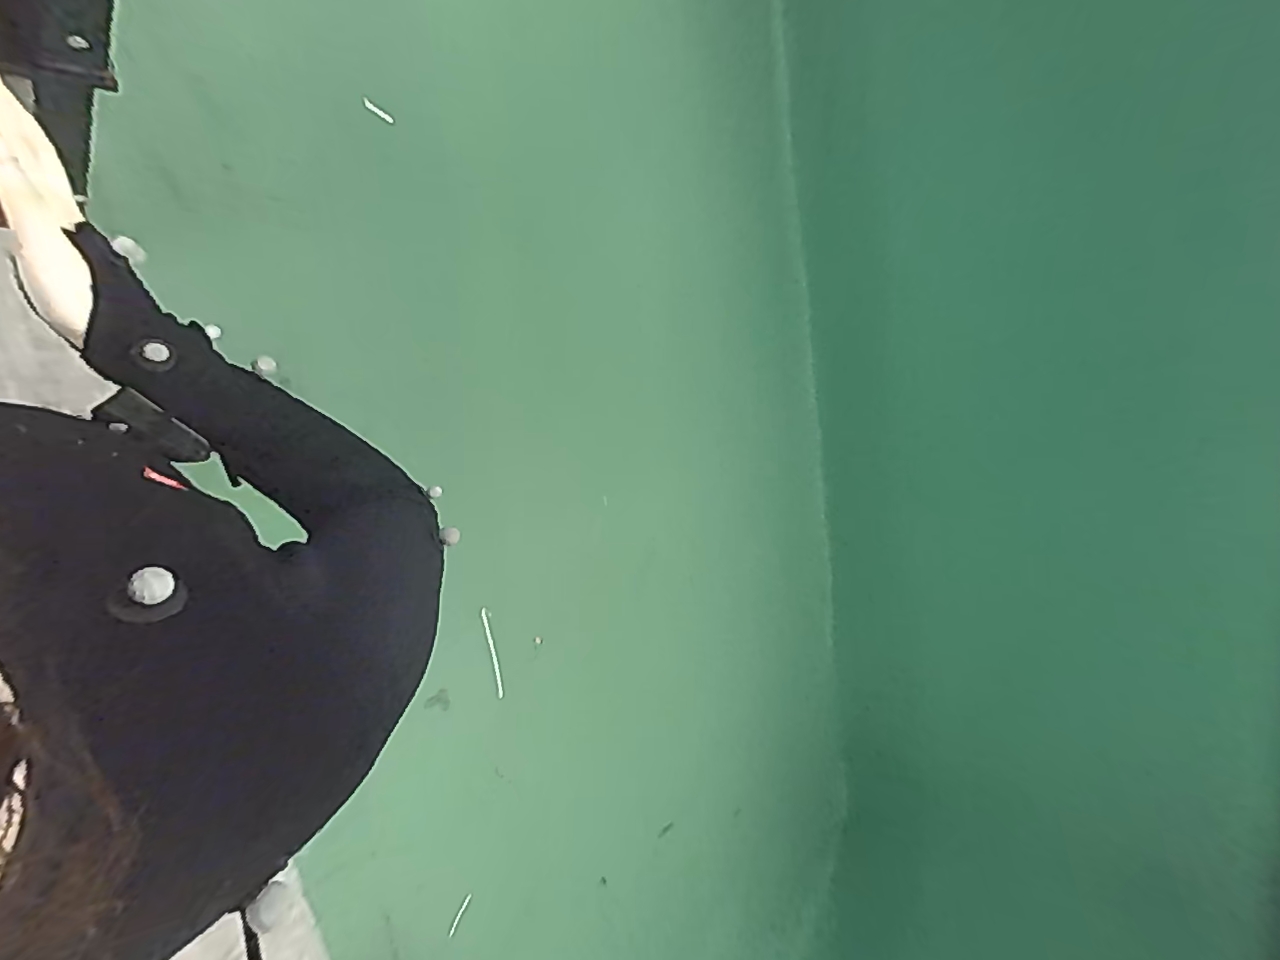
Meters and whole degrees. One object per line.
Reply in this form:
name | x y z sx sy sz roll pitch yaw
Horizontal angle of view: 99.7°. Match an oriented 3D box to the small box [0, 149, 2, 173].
small box | -0.423 -0.241 0.232 0.179 0.176 0.168 -11 99 -44
